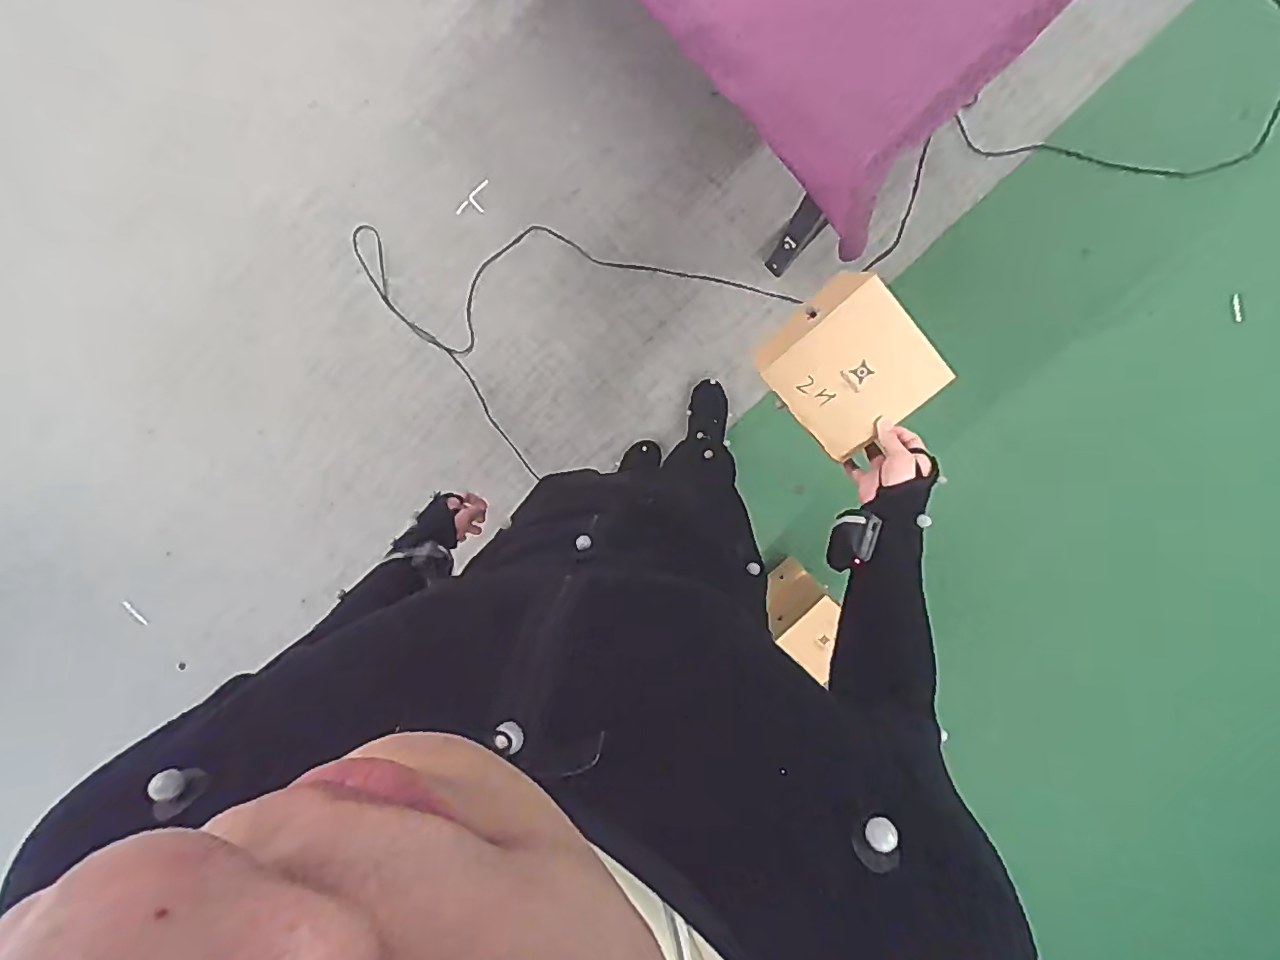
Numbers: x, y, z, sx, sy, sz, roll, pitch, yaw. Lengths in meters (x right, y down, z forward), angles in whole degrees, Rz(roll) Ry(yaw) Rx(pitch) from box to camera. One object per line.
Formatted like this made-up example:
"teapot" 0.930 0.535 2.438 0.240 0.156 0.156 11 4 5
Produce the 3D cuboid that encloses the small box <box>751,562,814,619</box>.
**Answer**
"small box" 0.443 0.355 1.557 0.179 0.176 0.168 44 97 -4

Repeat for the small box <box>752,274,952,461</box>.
"small box" 0.271 -0.162 0.738 0.179 0.176 0.168 -41 103 20

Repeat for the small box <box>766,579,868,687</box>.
"small box" 0.445 0.388 1.397 0.168 0.176 0.179 44 97 -4
